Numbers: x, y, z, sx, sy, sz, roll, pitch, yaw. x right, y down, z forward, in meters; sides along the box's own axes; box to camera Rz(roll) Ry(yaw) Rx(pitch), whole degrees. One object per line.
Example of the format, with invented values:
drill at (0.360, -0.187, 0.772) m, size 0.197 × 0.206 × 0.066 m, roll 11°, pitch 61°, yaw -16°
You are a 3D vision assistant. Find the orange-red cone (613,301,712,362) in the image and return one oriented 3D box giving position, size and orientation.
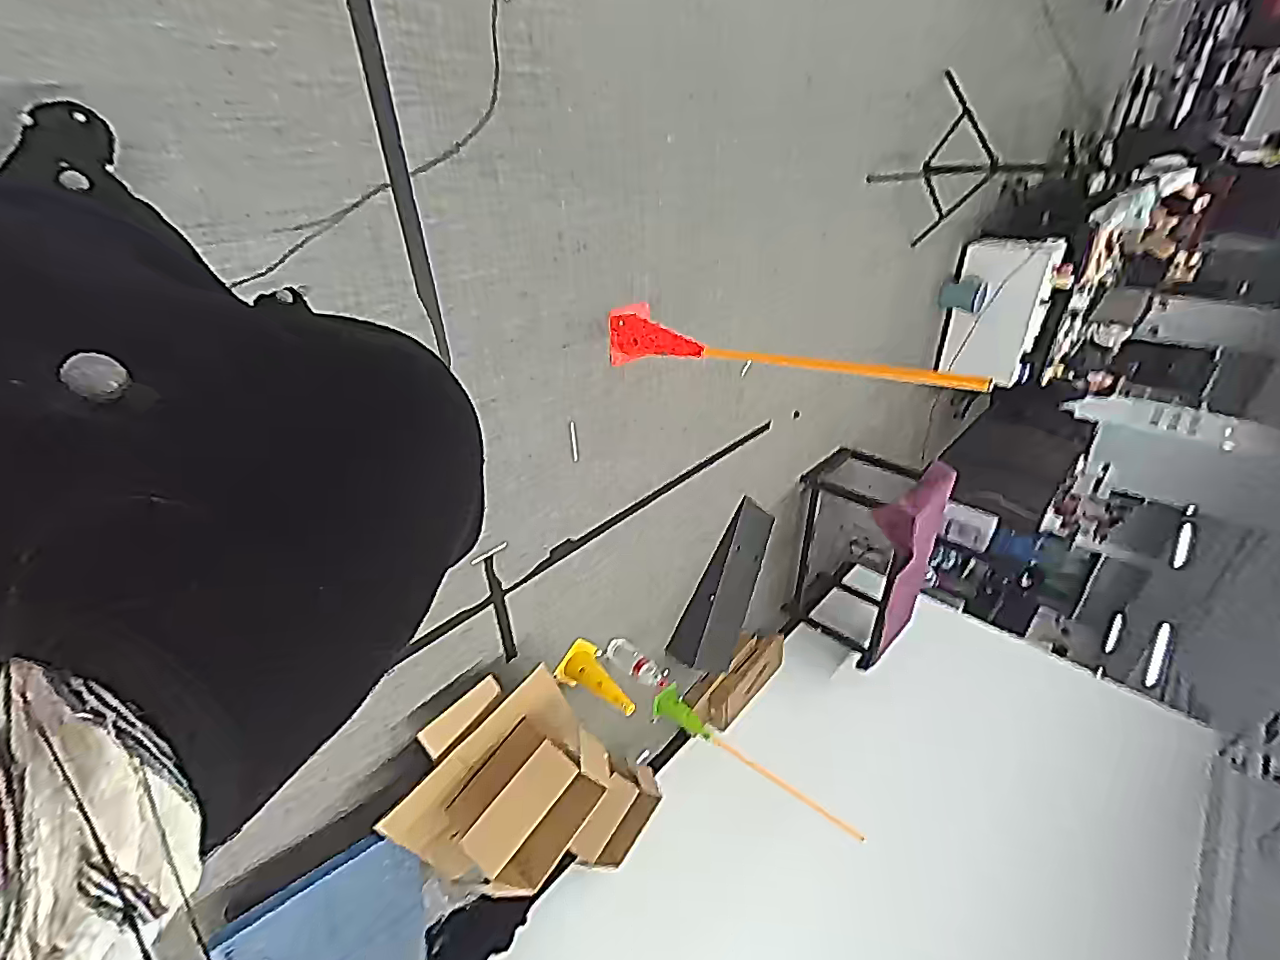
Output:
orange-red cone at (0.098, -0.480, 1.852) m, size 0.198 × 0.360 × 0.199 m, roll -26°, pitch 129°, yaw -38°
